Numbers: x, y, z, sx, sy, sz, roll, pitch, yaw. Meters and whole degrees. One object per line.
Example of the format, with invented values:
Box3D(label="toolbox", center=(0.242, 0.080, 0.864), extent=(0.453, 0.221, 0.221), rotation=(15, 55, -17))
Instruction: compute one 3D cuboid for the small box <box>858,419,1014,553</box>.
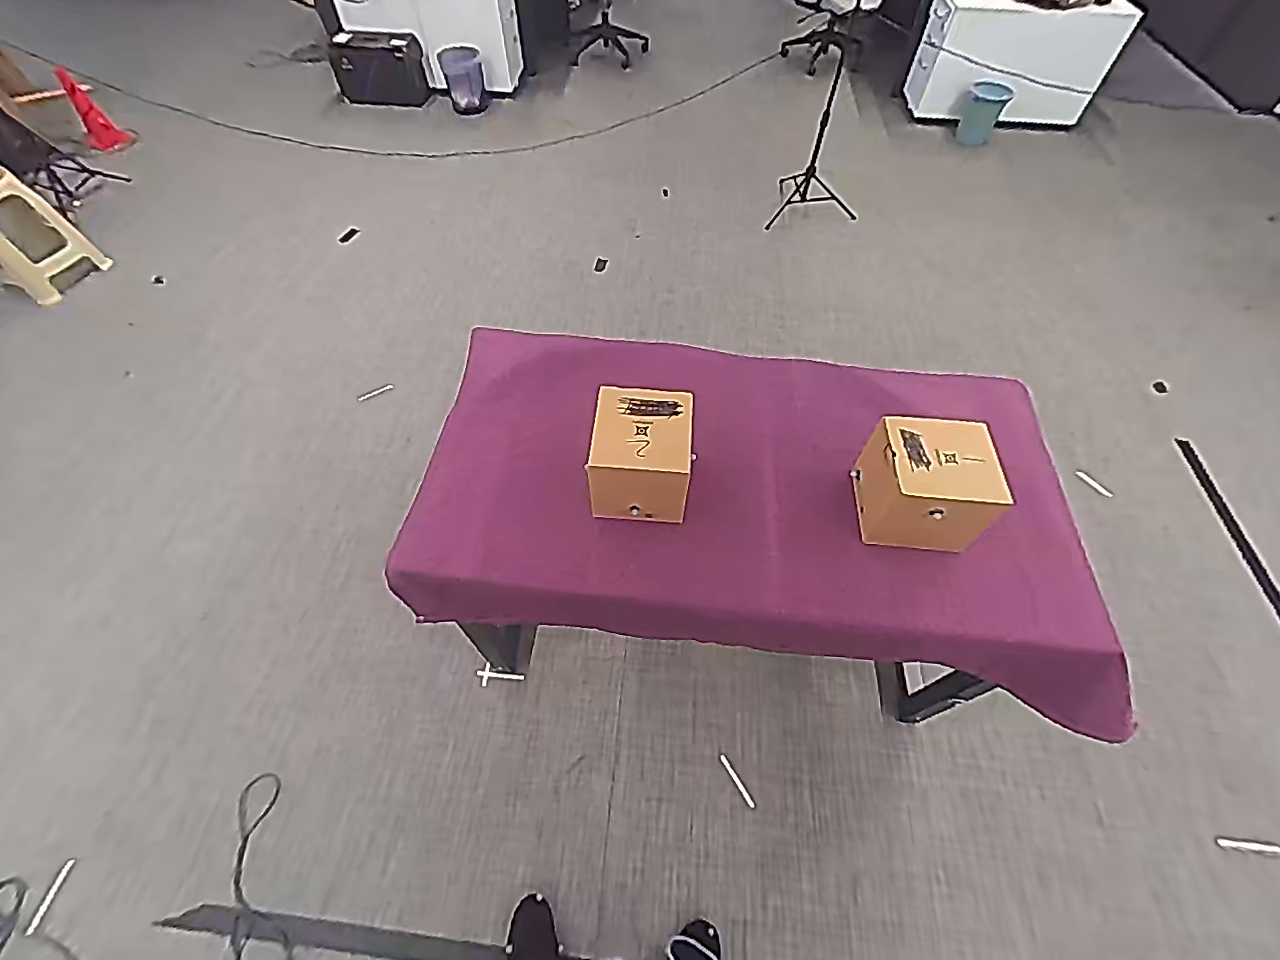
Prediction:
Box3D(label="small box", center=(0.497, 0.015, 0.944), extent=(0.179, 0.176, 0.168), rotation=(5, 56, 2))
